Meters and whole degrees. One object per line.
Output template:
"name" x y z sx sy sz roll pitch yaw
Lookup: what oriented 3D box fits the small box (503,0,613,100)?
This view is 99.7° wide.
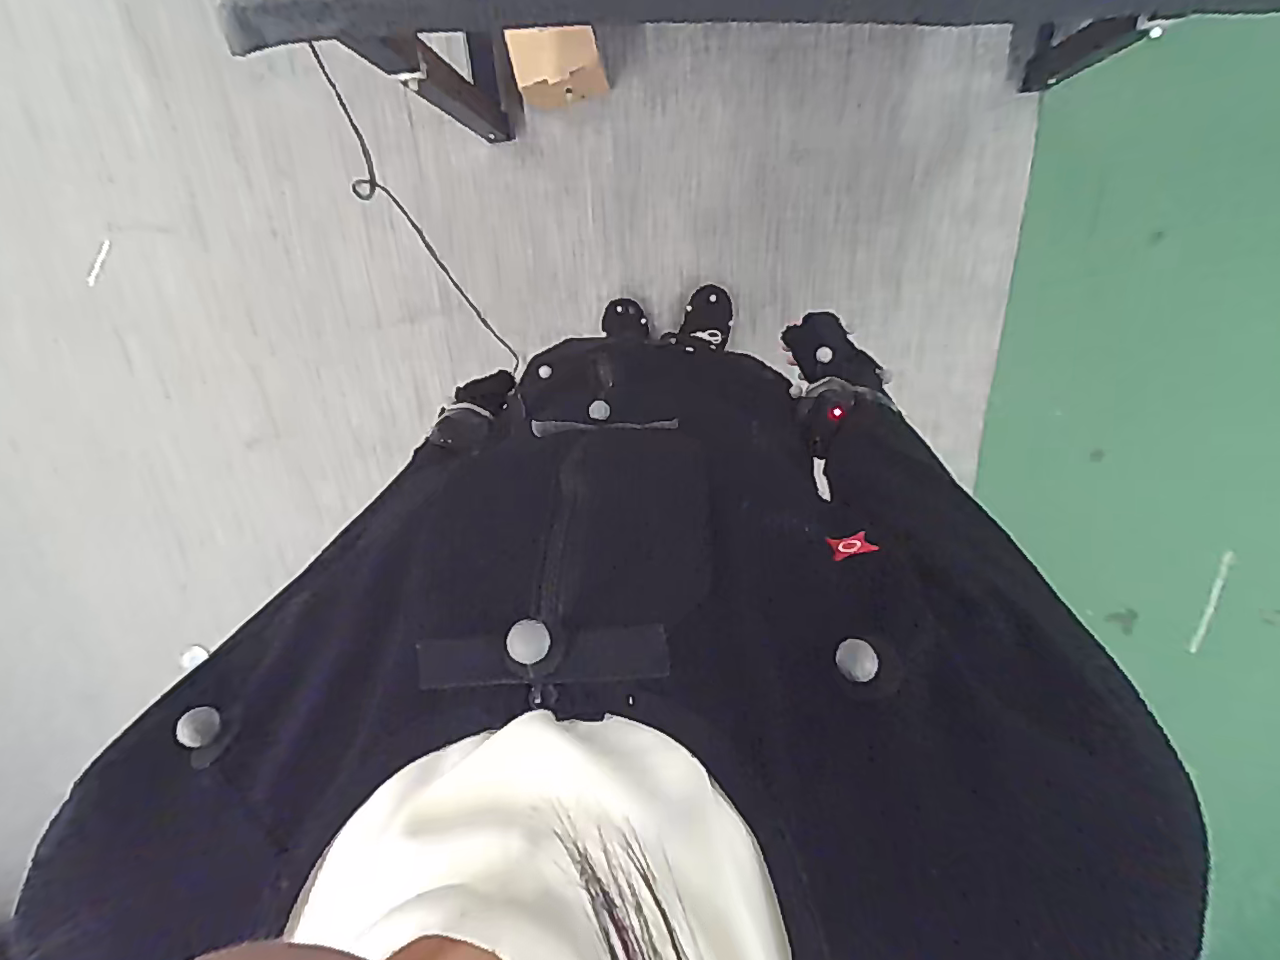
"small box" -0.157 -0.886 1.073 0.168 0.176 0.179 -10 110 9
